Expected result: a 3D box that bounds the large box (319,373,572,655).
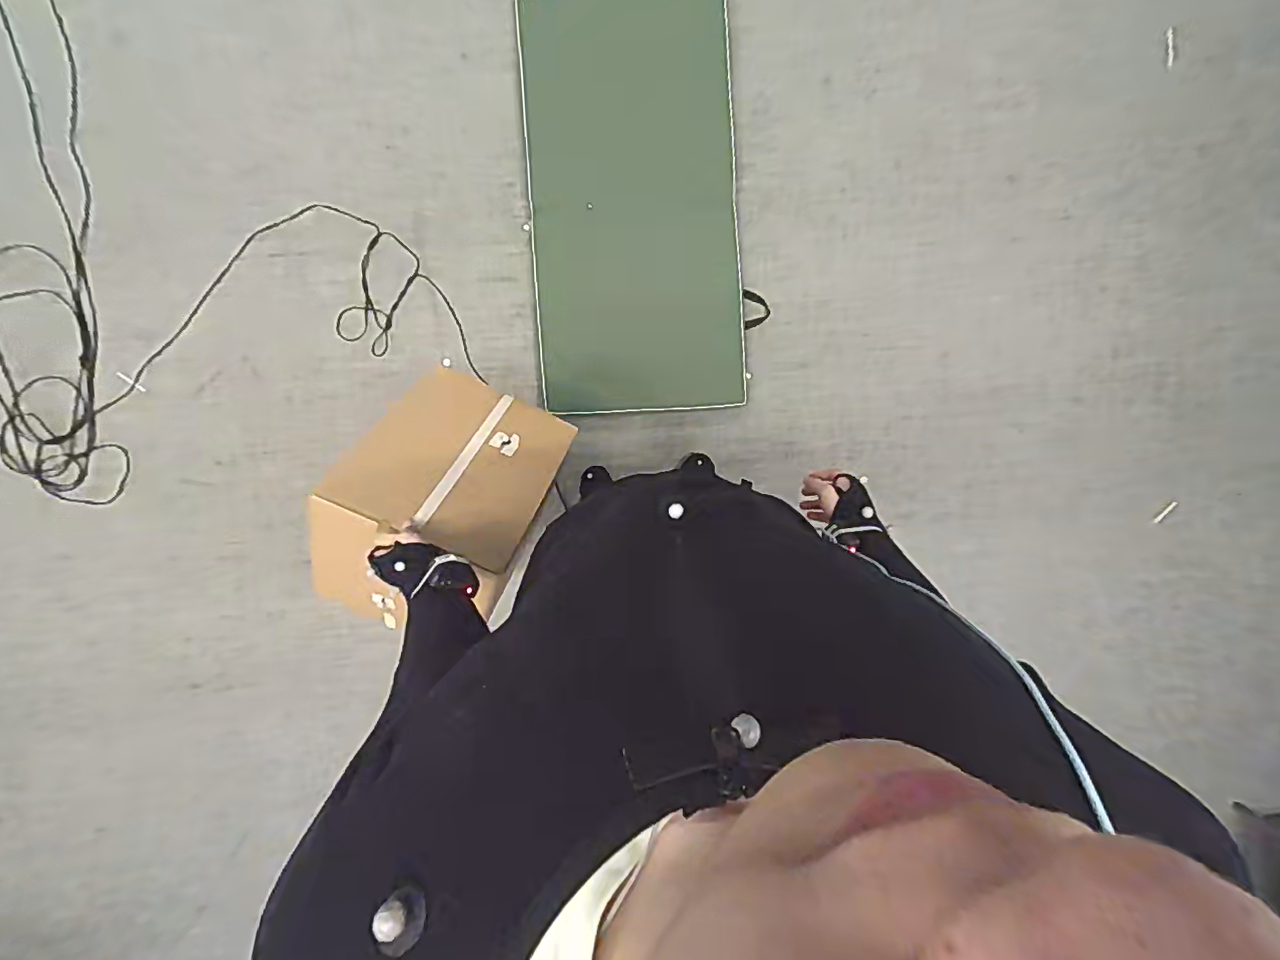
[{"bbox_3d":[-0.371,0.064,1.079,0.320,0.408,0.320,25,131,-6],"label":"large box"}]
